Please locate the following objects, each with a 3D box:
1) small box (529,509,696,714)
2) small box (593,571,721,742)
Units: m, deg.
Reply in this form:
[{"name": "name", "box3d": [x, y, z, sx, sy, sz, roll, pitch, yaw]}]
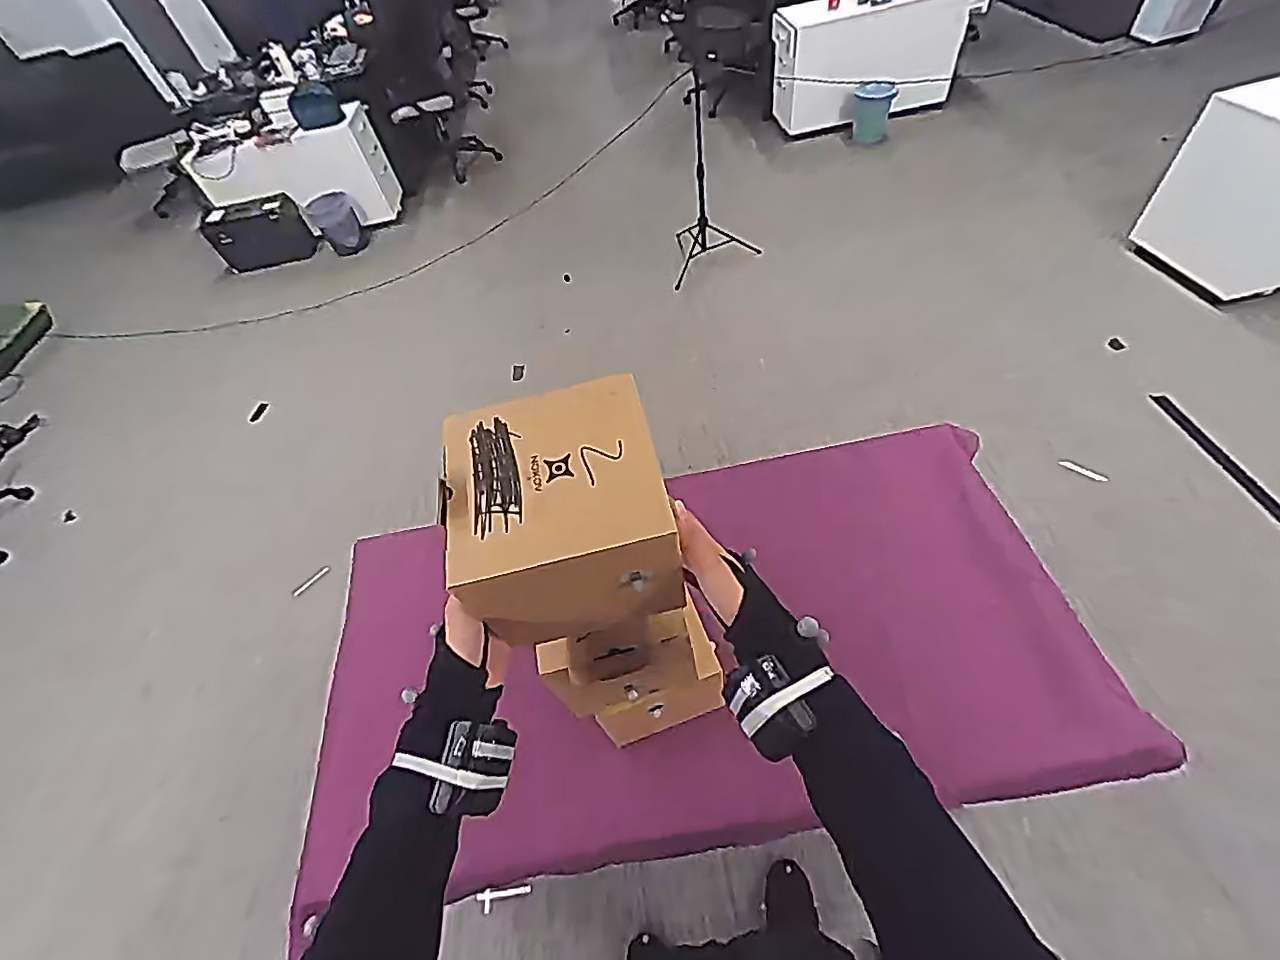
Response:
[{"name": "small box", "box3d": [-0.033, 0.168, 0.683, 0.168, 0.176, 0.179, -15, 52, -1]}, {"name": "small box", "box3d": [0.012, 0.268, 0.808, 0.179, 0.176, 0.168, -18, 52, -5]}]
